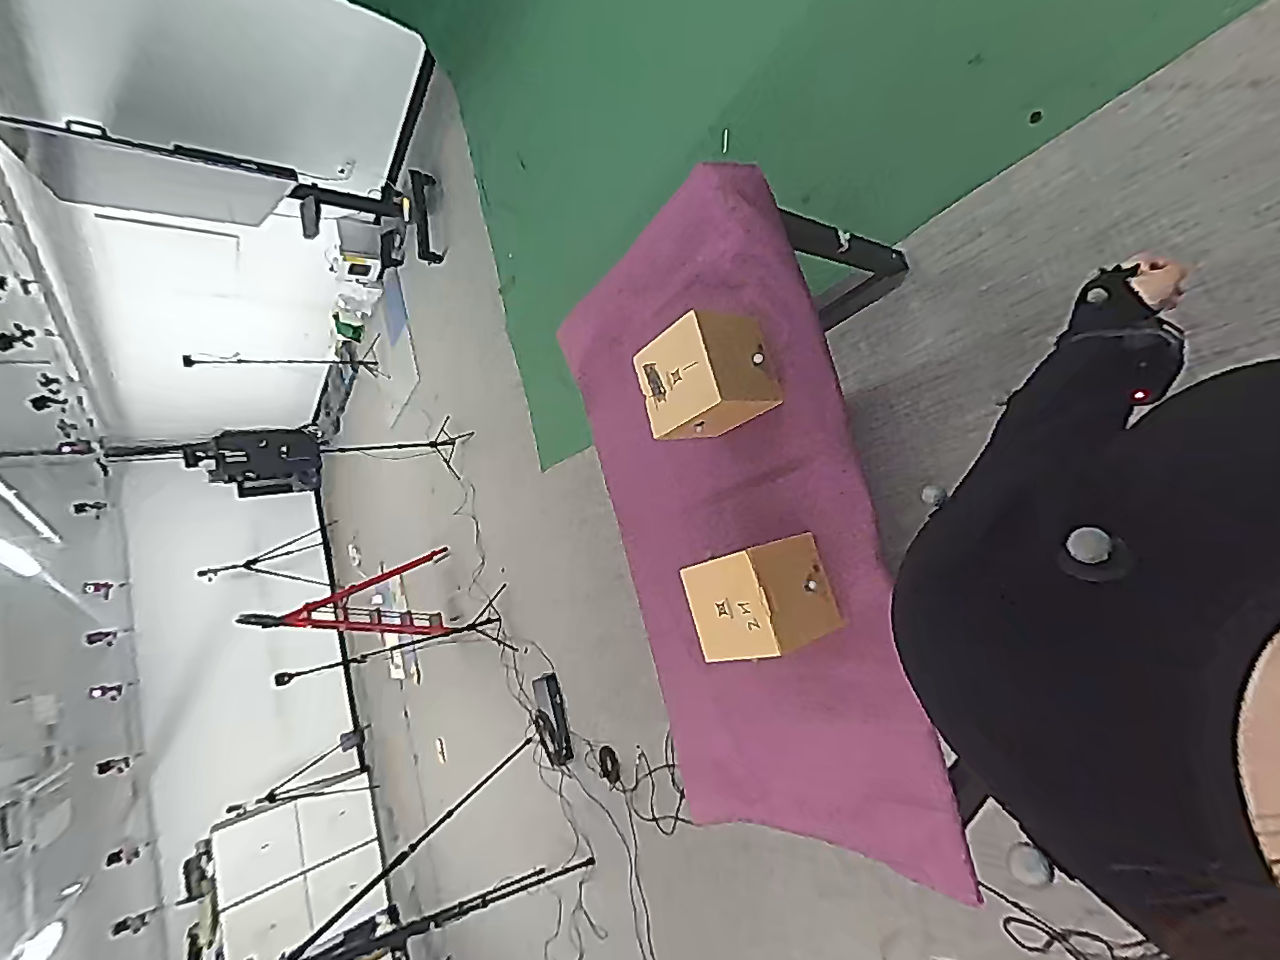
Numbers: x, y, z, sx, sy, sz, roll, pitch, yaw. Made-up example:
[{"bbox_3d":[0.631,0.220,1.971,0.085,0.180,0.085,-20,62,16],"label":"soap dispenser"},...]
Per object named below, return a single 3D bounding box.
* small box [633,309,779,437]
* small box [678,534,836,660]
[{"bbox_3d":[0.118,-0.183,0.974,0.179,0.176,0.168,-26,75,49],"label":"small box"},{"bbox_3d":[0.199,0.200,0.927,0.179,0.176,0.168,-29,73,50],"label":"small box"}]
